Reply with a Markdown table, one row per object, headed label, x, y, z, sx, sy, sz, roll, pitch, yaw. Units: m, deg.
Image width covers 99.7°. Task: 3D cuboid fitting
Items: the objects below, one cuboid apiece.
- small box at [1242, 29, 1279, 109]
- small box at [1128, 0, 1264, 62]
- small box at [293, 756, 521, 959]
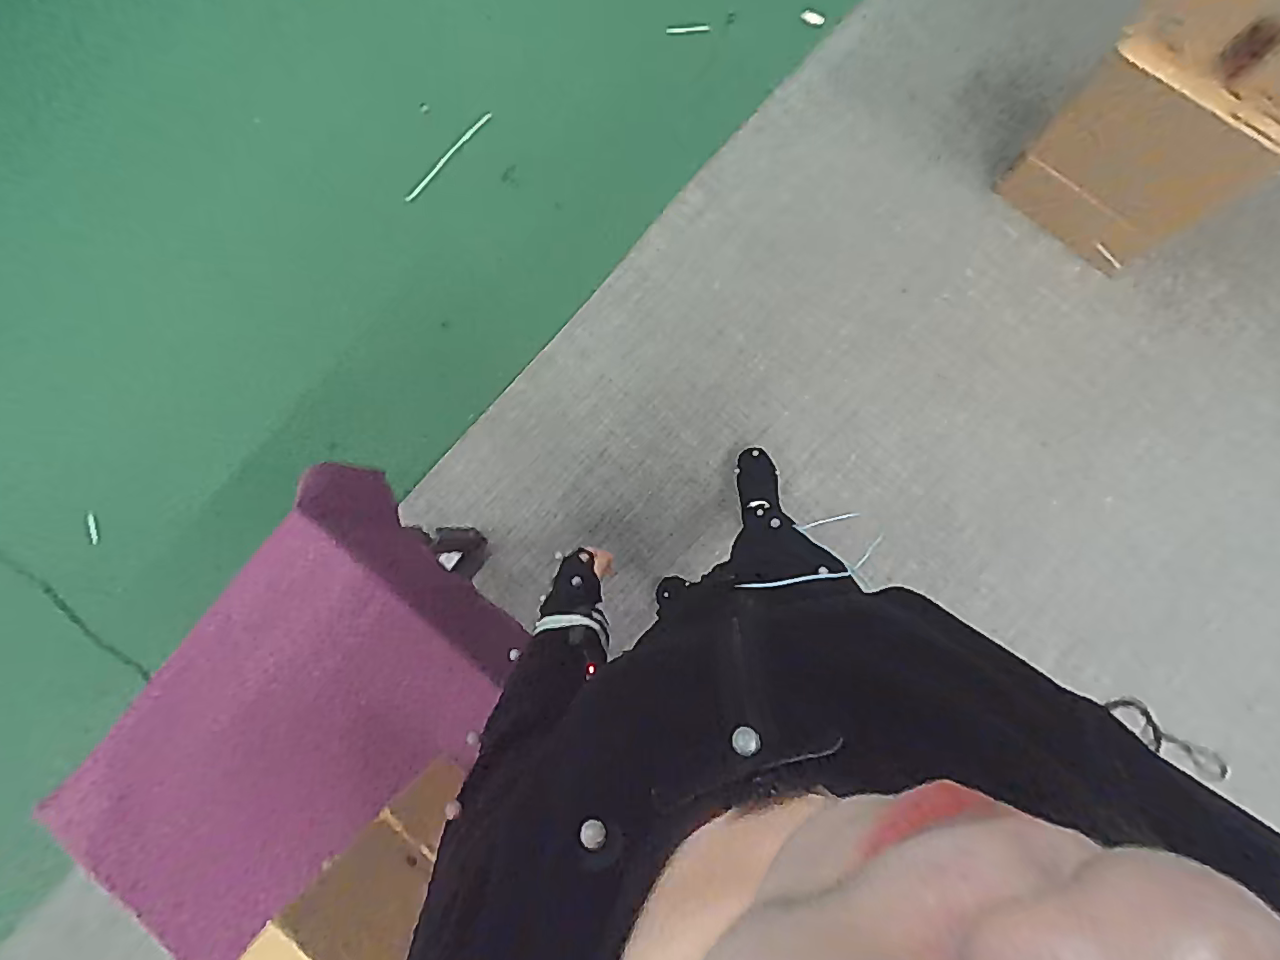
| label | x | y | z | sx | sy | sz | roll | pitch | yaw |
| --- | --- | --- | --- | --- | --- | --- | --- | --- | --- |
| small box | 1.260 | -0.795 | 0.963 | 0.179 | 0.176 | 0.168 | -45 | 82 | -1 |
| small box | 1.076 | -0.940 | 0.995 | 0.168 | 0.176 | 0.179 | 42 | 91 | 6 |
| small box | -0.282 | 0.505 | 0.697 | 0.168 | 0.176 | 0.179 | 41 | 89 | 7 |
